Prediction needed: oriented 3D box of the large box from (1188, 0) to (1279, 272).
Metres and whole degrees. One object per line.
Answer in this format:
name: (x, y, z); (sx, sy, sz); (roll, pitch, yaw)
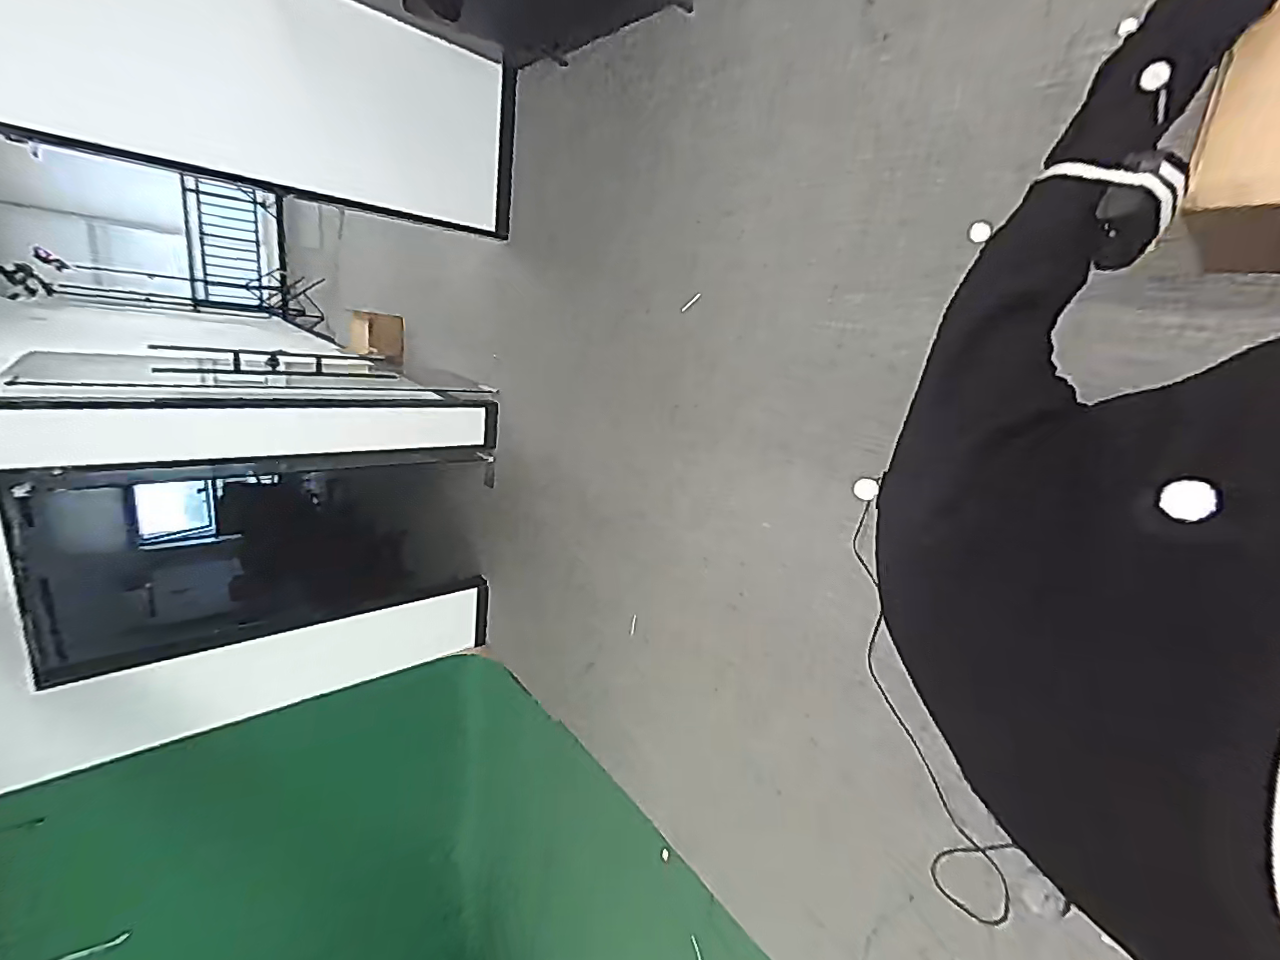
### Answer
large box: (0.704, -0.343, 0.377); (0.408, 0.320, 0.320); (20, 108, 44)
